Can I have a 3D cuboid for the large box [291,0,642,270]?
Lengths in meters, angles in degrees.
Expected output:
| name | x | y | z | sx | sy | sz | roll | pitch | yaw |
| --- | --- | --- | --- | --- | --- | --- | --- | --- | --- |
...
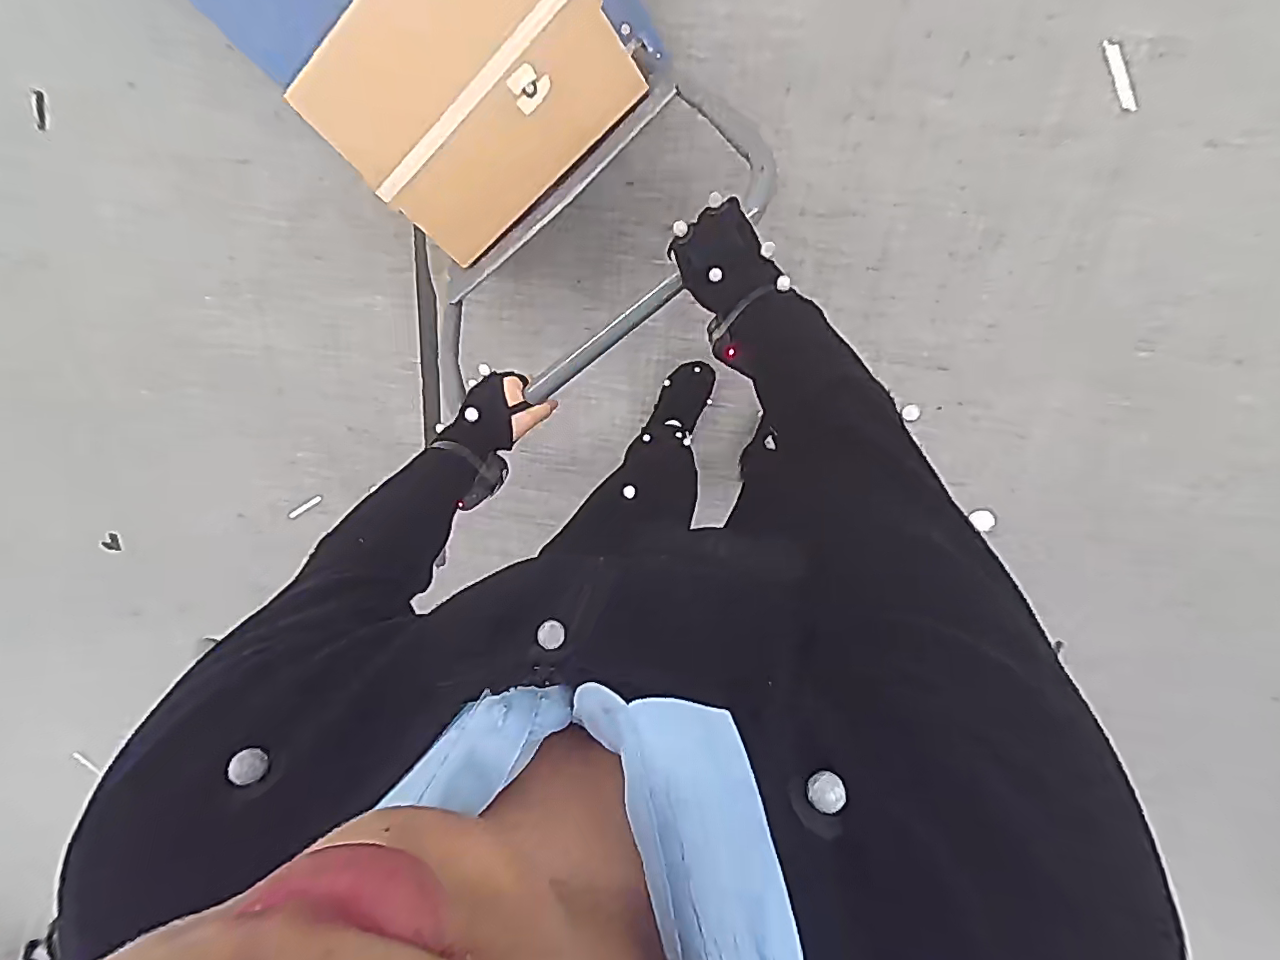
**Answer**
| name | x | y | z | sx | sy | sz | roll | pitch | yaw |
| --- | --- | --- | --- | --- | --- | --- | --- | --- | --- |
| large box | -0.262 | -0.635 | 0.876 | 0.408 | 0.320 | 0.320 | -36 | 128 | 18 |
